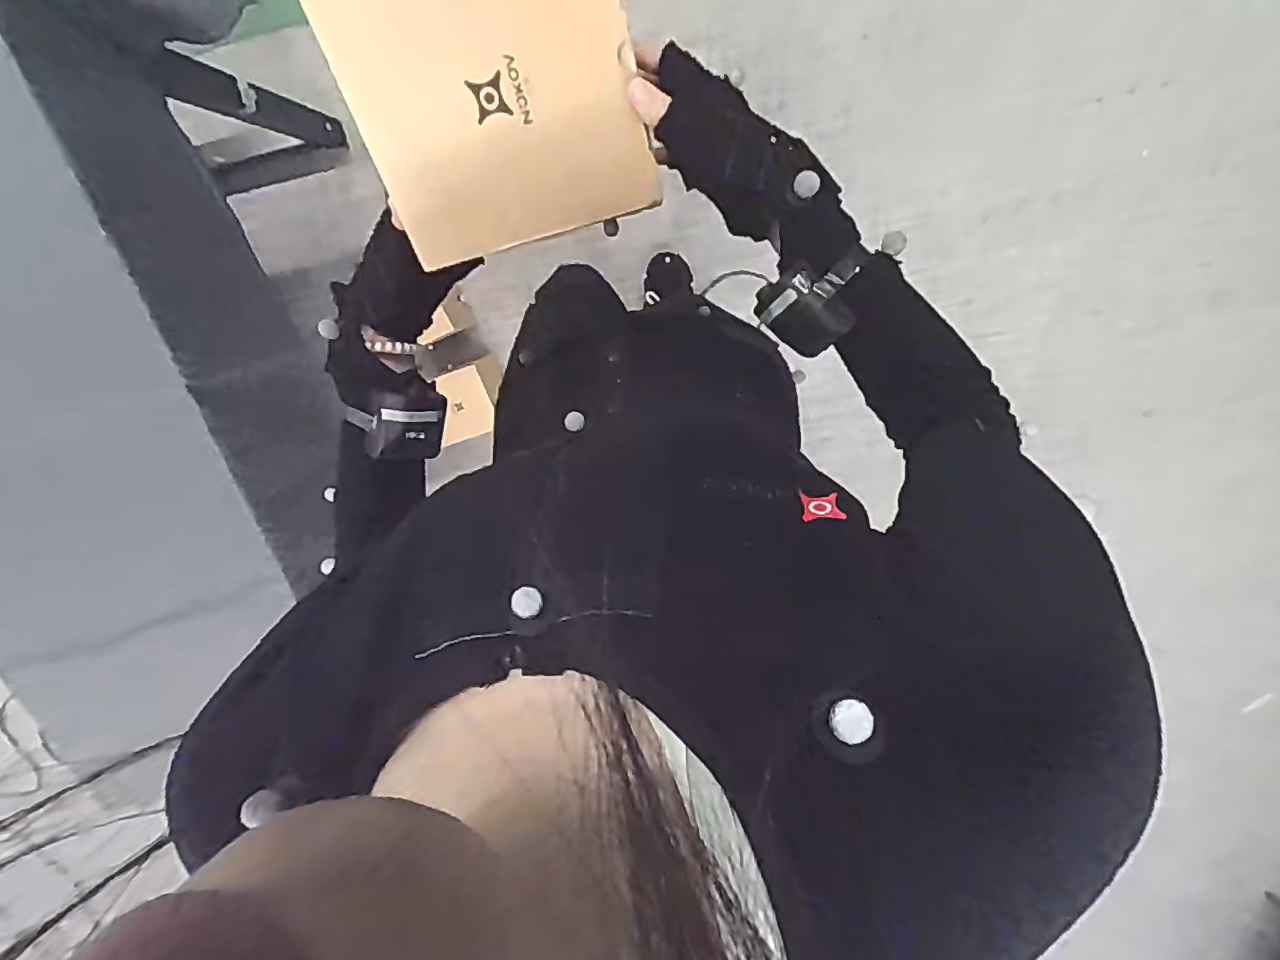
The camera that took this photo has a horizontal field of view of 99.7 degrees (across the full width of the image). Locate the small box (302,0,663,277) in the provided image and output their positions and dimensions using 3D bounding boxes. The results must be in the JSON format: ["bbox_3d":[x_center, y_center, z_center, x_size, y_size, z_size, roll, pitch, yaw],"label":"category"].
[{"bbox_3d":[-0.093,-0.268,0.397,0.179,0.176,0.168,-15,122,2],"label":"small box"}]

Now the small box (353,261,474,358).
[{"bbox_3d":[-0.534,-0.413,1.302,0.179,0.176,0.168,-21,110,12],"label":"small box"}]
